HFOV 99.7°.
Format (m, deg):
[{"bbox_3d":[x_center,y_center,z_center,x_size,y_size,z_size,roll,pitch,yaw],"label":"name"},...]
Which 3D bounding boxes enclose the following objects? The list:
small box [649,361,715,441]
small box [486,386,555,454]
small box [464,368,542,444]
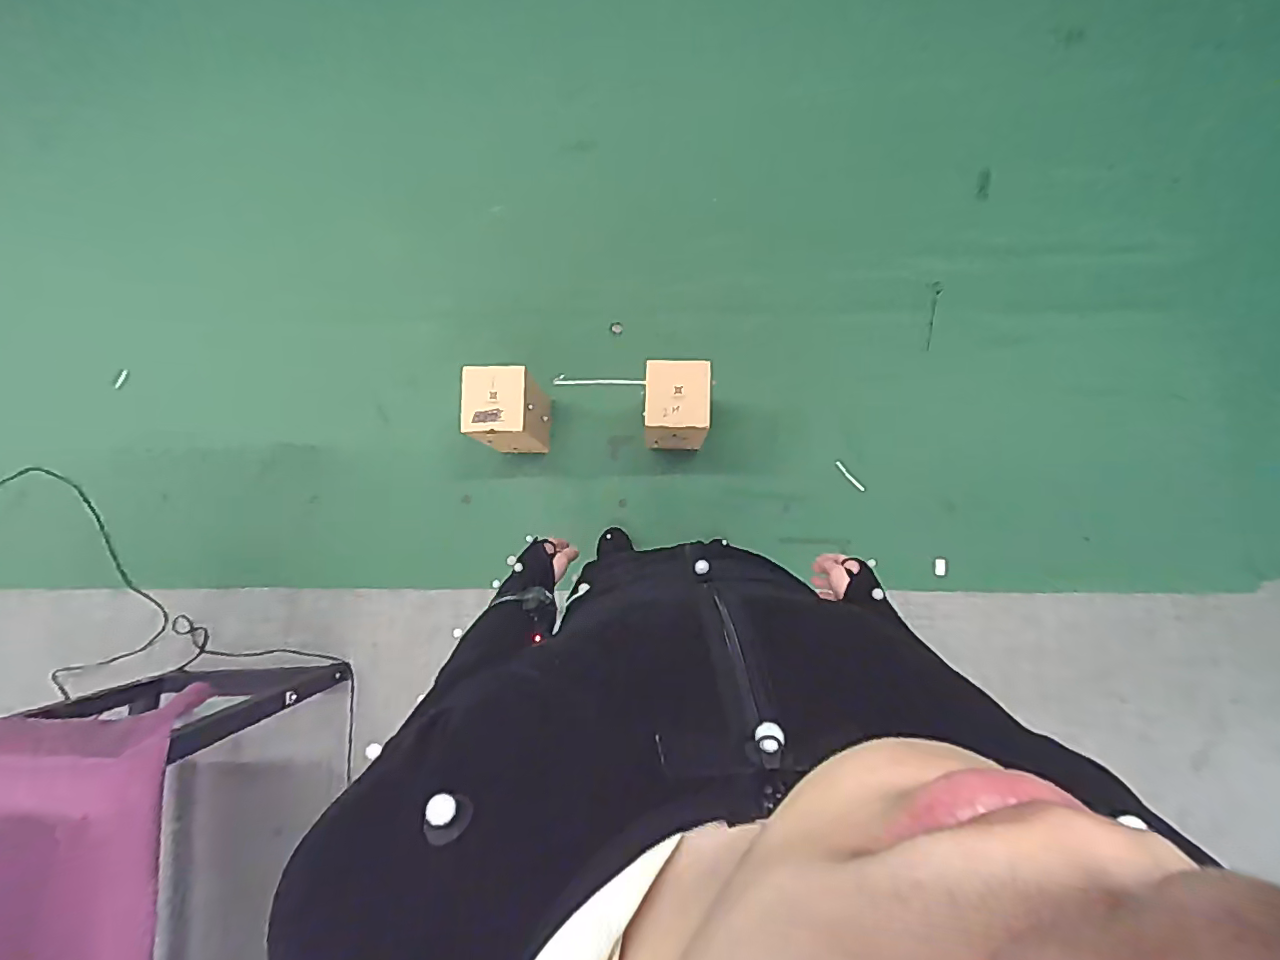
[{"bbox_3d":[0.108,-0.207,1.443,0.168,0.176,0.179,1,84,3],"label":"small box"},{"bbox_3d":[-0.356,-0.177,1.631,0.168,0.176,0.179,0,84,3],"label":"small box"},{"bbox_3d":[-0.365,-0.195,1.468,0.168,0.176,0.179,0,84,3],"label":"small box"}]
